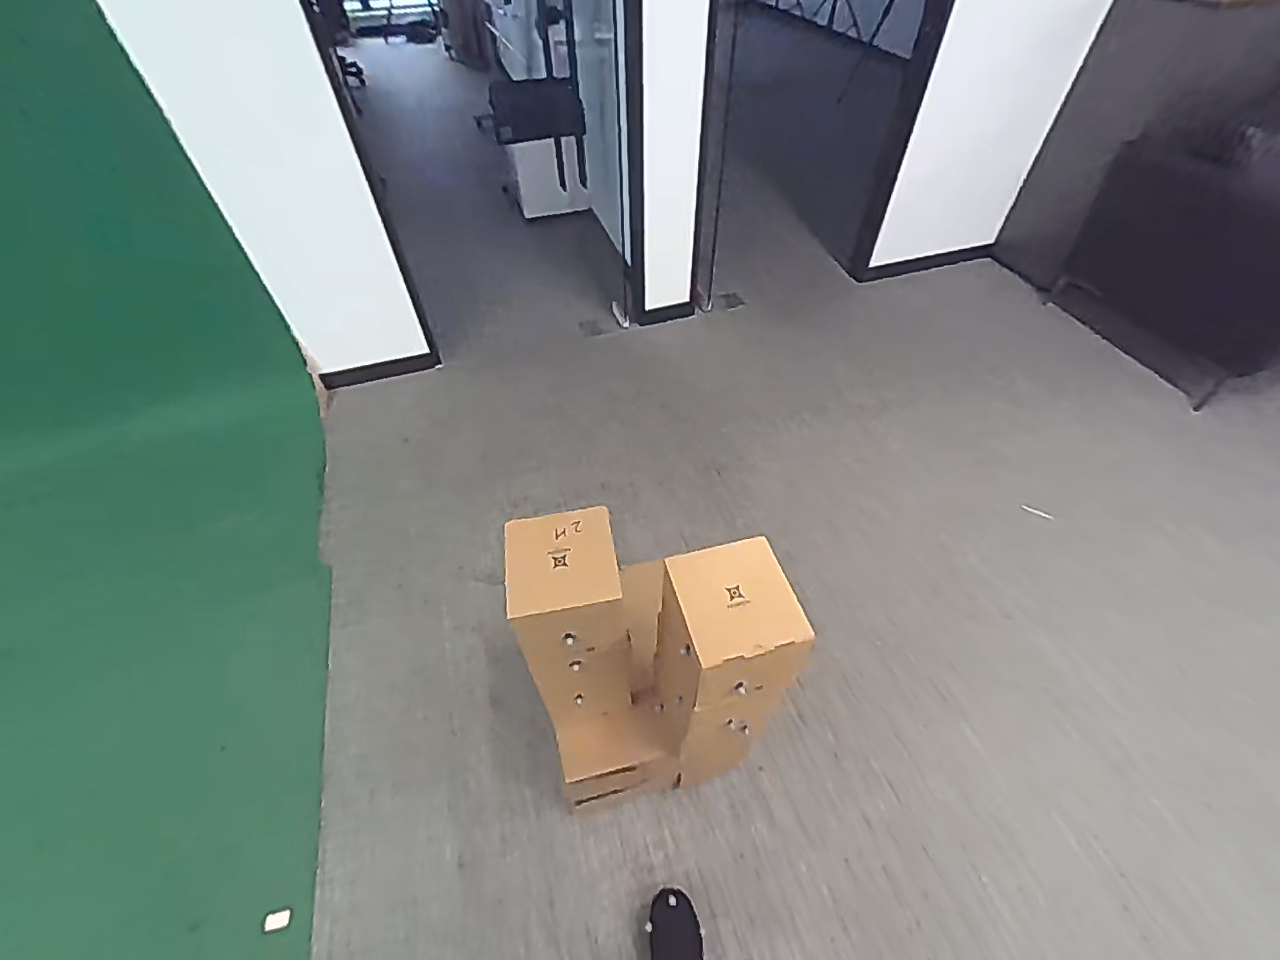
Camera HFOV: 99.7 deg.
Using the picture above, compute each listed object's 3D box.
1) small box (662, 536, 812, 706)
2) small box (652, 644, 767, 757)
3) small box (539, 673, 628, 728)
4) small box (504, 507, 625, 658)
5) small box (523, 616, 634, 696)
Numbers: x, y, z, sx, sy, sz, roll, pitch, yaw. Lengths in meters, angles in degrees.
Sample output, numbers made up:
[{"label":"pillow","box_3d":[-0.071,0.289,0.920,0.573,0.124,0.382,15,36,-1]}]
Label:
[{"label":"small box","box_3d":[0.134,0.217,0.831,0.168,0.176,0.179,-12,50,-10]},{"label":"small box","box_3d":[0.129,0.426,1.082,0.179,0.176,0.168,-14,49,-11]},{"label":"small box","box_3d":[-0.124,0.384,1.124,0.168,0.176,0.179,-13,49,-9]},{"label":"small box","box_3d":[-0.119,0.171,0.872,0.168,0.176,0.179,-8,49,-6]},{"label":"small box","box_3d":[-0.119,0.274,0.998,0.179,0.176,0.168,-15,50,-8]}]
